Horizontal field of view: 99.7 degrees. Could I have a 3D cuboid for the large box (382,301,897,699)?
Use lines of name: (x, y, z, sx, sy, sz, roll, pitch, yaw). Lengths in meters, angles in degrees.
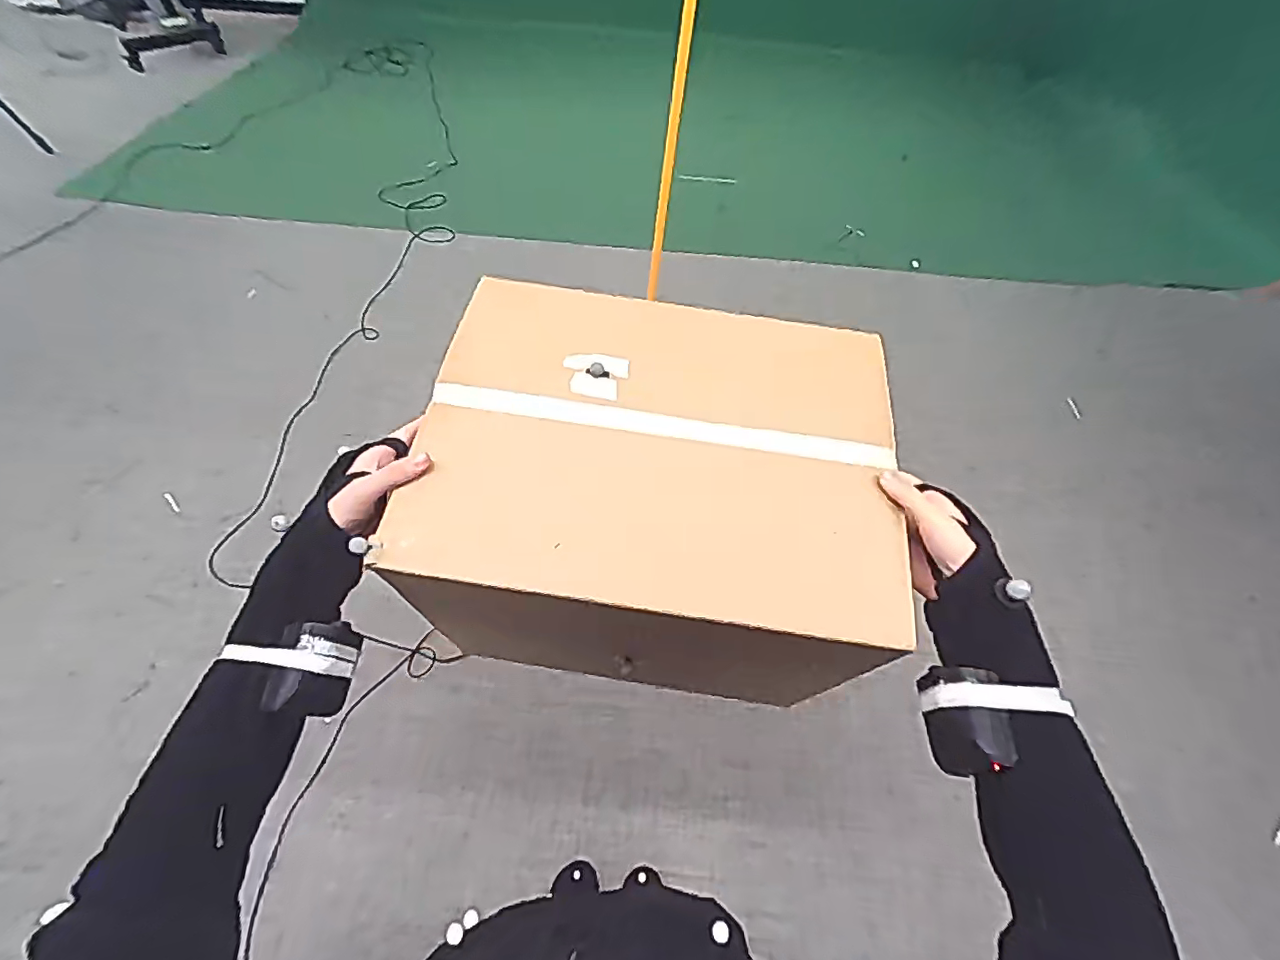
large box: (0.013, 0.045, 0.609, 0.408, 0.320, 0.320, 9, 61, 2)
